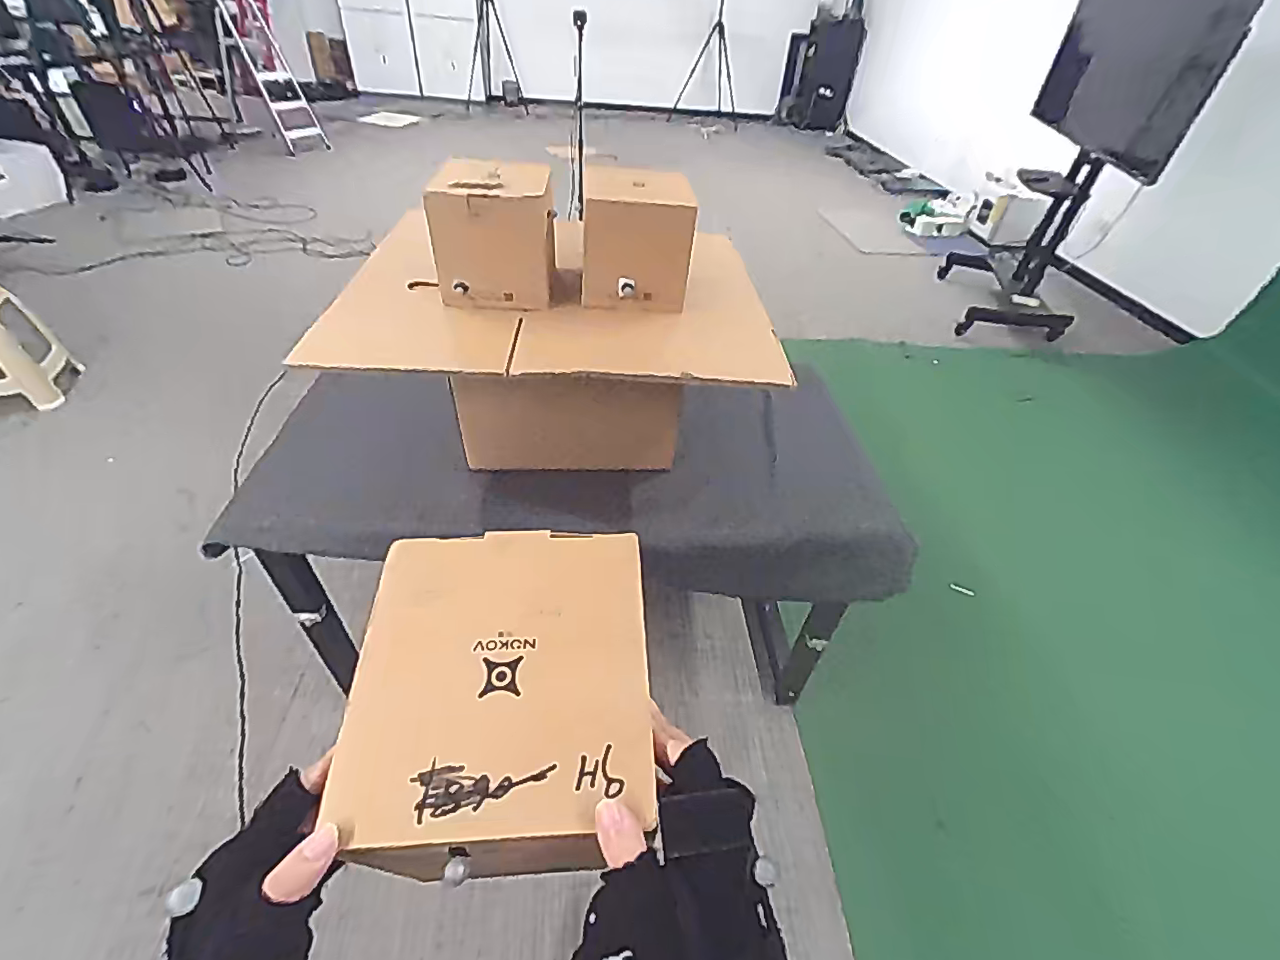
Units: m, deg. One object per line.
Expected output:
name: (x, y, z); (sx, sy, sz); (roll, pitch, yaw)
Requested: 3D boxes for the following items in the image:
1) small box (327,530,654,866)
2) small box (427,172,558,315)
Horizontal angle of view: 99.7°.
small box: (-0.080, 0.154, 0.384); (0.168, 0.176, 0.179); (-2, 49, -3)
small box: (-0.223, -0.379, 0.871); (0.168, 0.176, 0.179); (1, 42, -4)
